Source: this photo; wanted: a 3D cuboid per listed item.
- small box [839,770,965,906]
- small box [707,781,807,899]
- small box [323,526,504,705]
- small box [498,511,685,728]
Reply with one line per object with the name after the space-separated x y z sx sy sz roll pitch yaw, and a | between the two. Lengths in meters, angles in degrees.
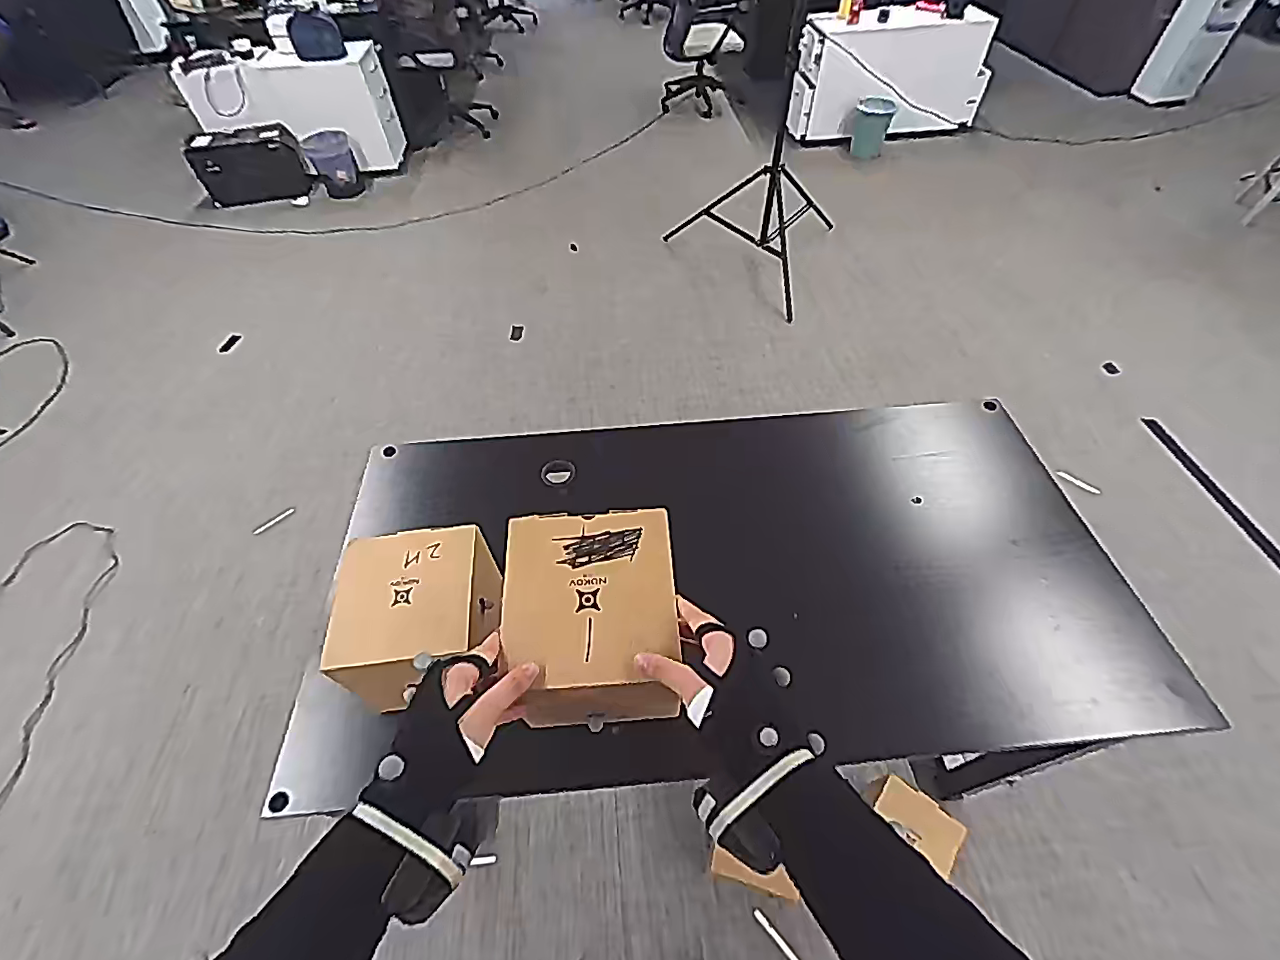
0.551 0.765 1.158 0.168 0.176 0.179 31 60 24 | small box
0.248 0.776 1.166 0.179 0.176 0.168 11 53 12 | small box
-0.281 0.186 0.718 0.168 0.176 0.179 -6 52 -4 | small box
-0.045 0.153 0.579 0.168 0.176 0.179 -4 57 -1 | small box
